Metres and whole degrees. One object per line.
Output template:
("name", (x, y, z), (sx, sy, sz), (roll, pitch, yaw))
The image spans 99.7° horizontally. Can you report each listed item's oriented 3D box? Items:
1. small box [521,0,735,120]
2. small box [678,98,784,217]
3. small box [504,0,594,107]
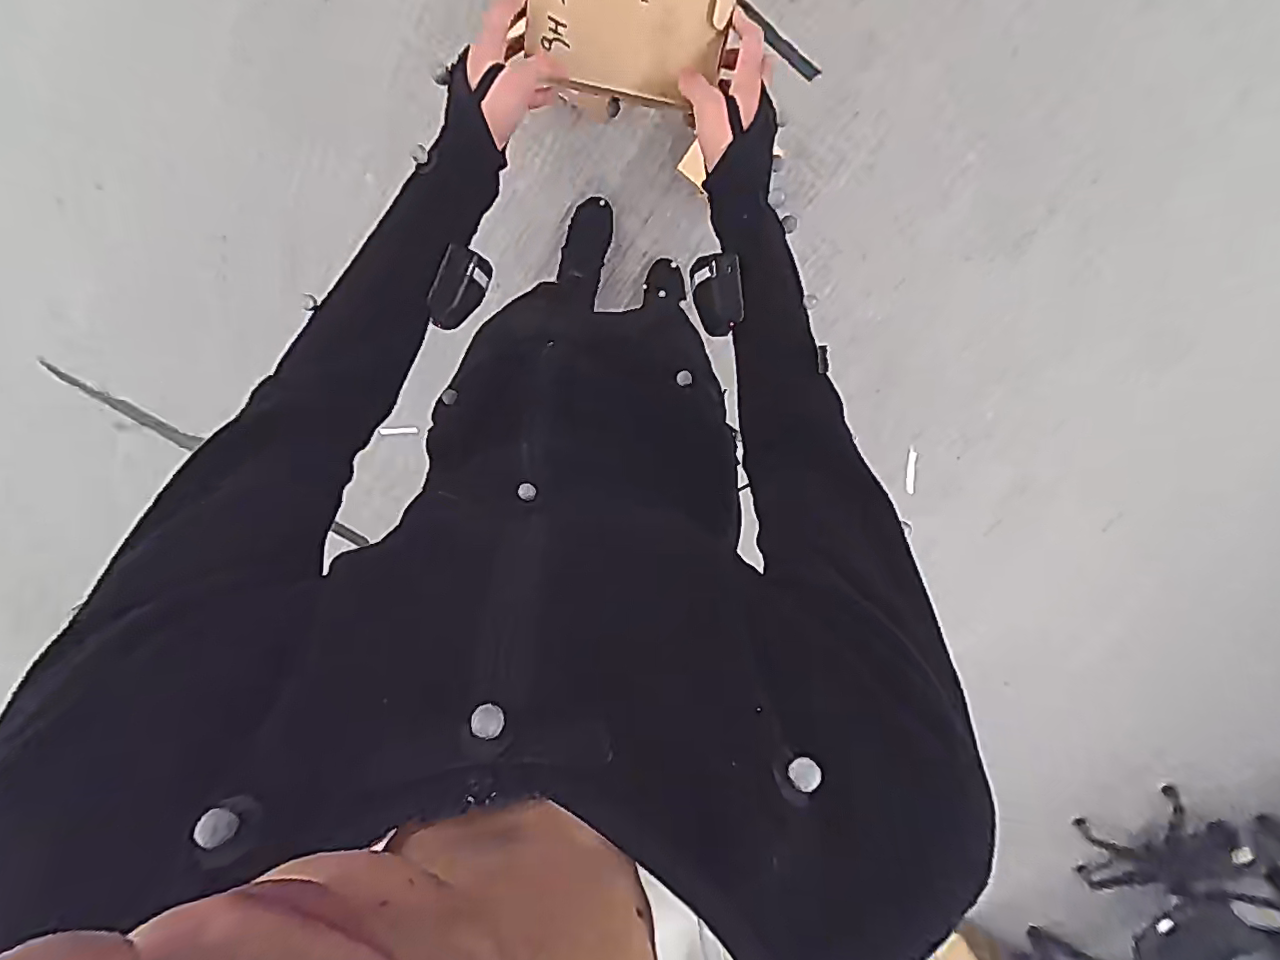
("small box", (-0.012, -0.460, 0.515), (0.179, 0.176, 0.168), (6, 122, -10))
("small box", (0.201, -0.740, 1.262), (0.179, 0.176, 0.168), (35, 112, -15))
("small box", (-0.133, -0.860, 1.033), (0.168, 0.176, 0.179), (31, 113, -12))
